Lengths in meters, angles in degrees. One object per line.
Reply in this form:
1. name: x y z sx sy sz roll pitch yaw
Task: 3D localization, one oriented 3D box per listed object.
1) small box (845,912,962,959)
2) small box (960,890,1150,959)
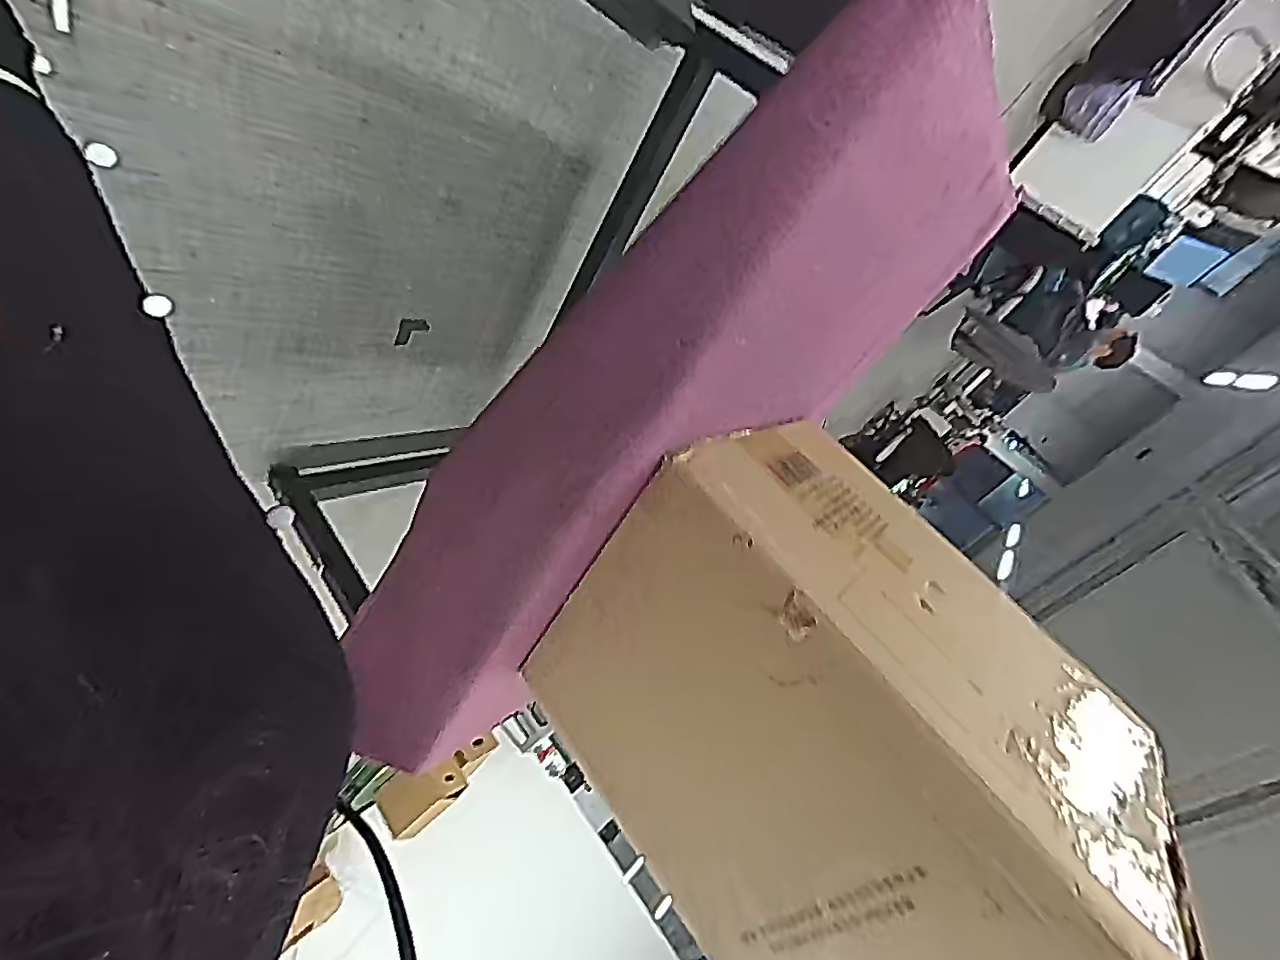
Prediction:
1. small box: 0.357 0.705 0.674 0.179 0.176 0.168 -15 147 -55
2. small box: 0.445 0.566 0.540 0.179 0.176 0.168 -19 150 -51
